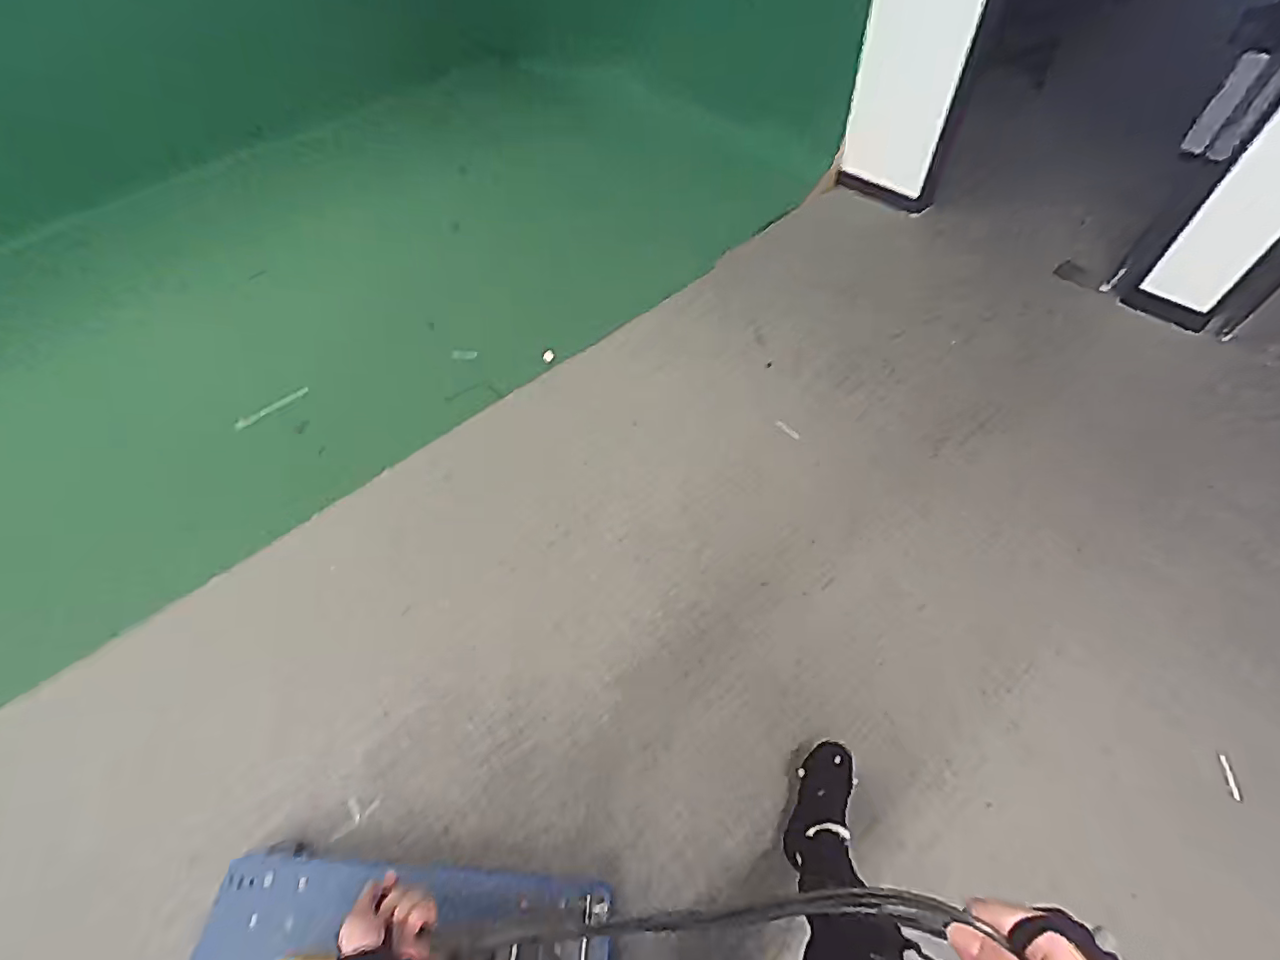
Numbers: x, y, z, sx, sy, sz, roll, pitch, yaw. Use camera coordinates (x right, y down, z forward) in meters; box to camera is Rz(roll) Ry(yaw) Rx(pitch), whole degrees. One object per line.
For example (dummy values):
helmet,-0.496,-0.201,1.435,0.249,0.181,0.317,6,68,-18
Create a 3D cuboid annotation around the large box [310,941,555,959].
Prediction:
large box,-0.378,0.980,0.878,0.408,0.320,0.320,-1,55,7
